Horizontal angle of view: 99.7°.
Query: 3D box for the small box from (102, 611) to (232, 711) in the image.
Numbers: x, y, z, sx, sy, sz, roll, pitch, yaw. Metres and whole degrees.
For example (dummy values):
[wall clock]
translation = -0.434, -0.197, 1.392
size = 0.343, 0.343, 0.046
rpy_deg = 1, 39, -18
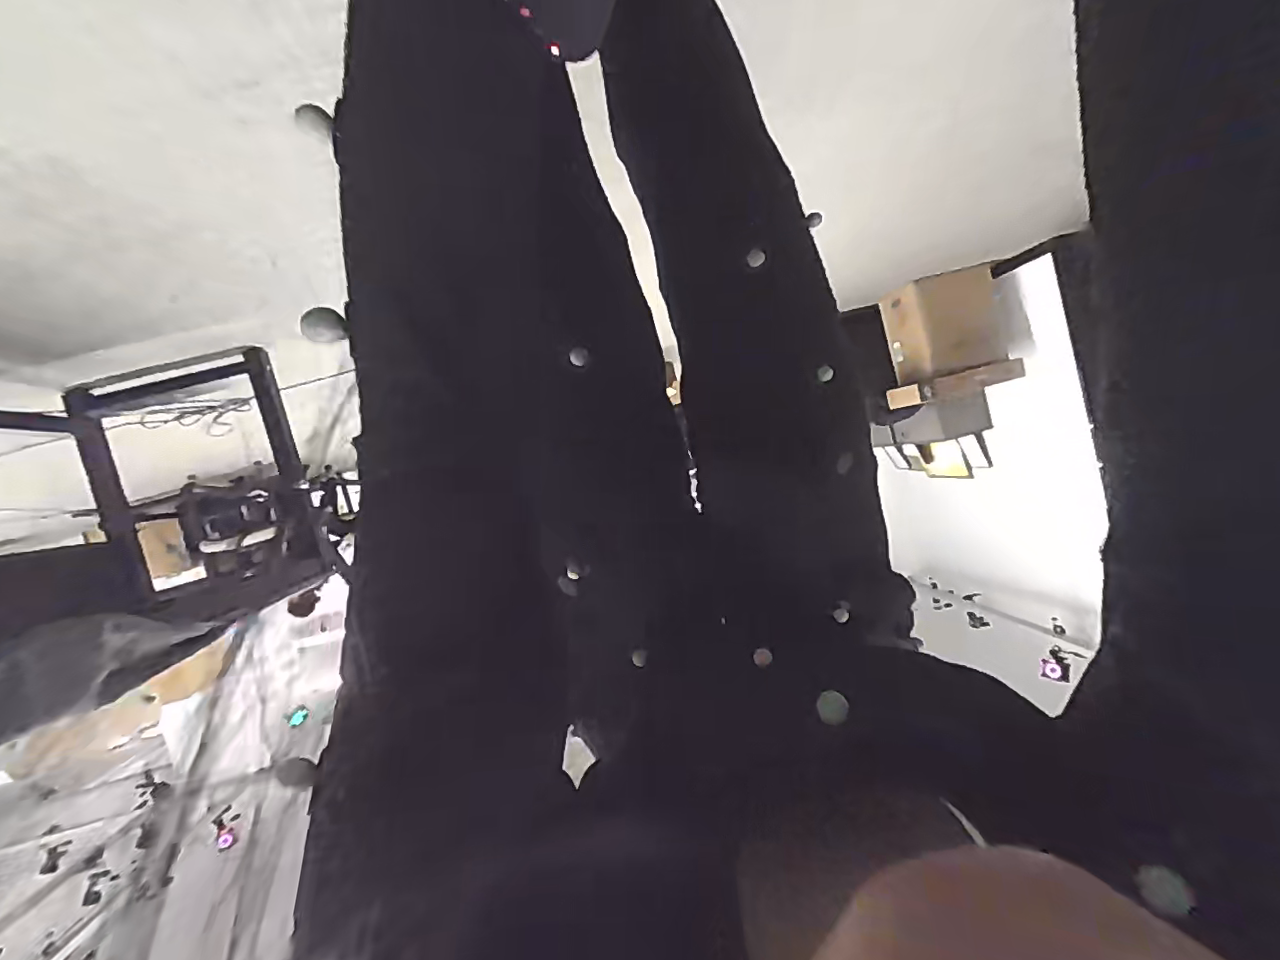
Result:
[small box]
translation = -1.169, 0.438, 1.338
size = 0.179, 0.176, 0.168
rpy_deg = -15, -177, -3
